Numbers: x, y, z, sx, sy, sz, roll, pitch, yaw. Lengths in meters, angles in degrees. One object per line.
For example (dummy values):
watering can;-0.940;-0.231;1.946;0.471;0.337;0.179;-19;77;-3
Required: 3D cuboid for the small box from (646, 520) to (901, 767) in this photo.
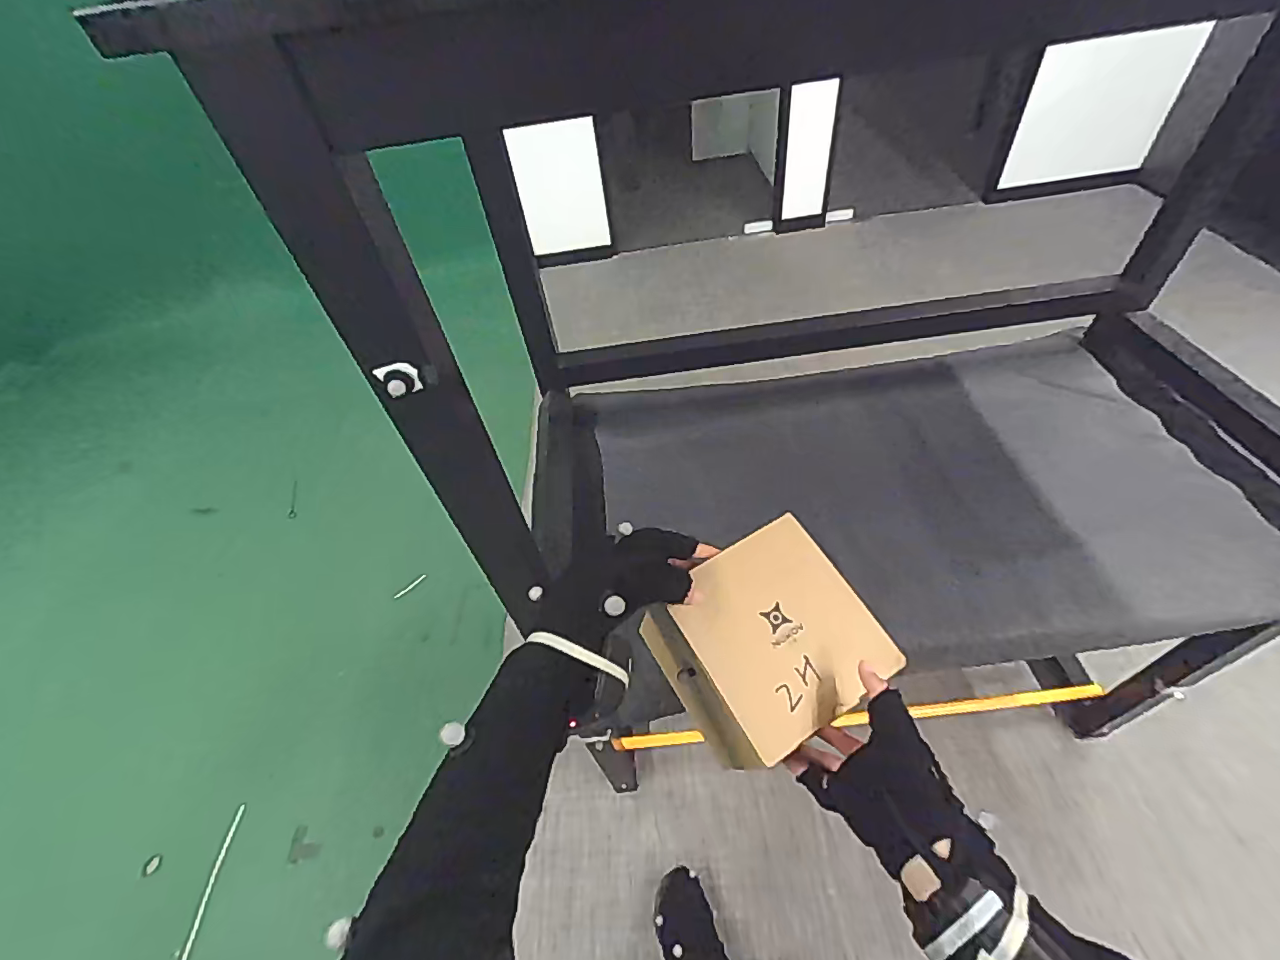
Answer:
small box;0.119;0.177;0.568;0.168;0.176;0.179;-27;67;-18
